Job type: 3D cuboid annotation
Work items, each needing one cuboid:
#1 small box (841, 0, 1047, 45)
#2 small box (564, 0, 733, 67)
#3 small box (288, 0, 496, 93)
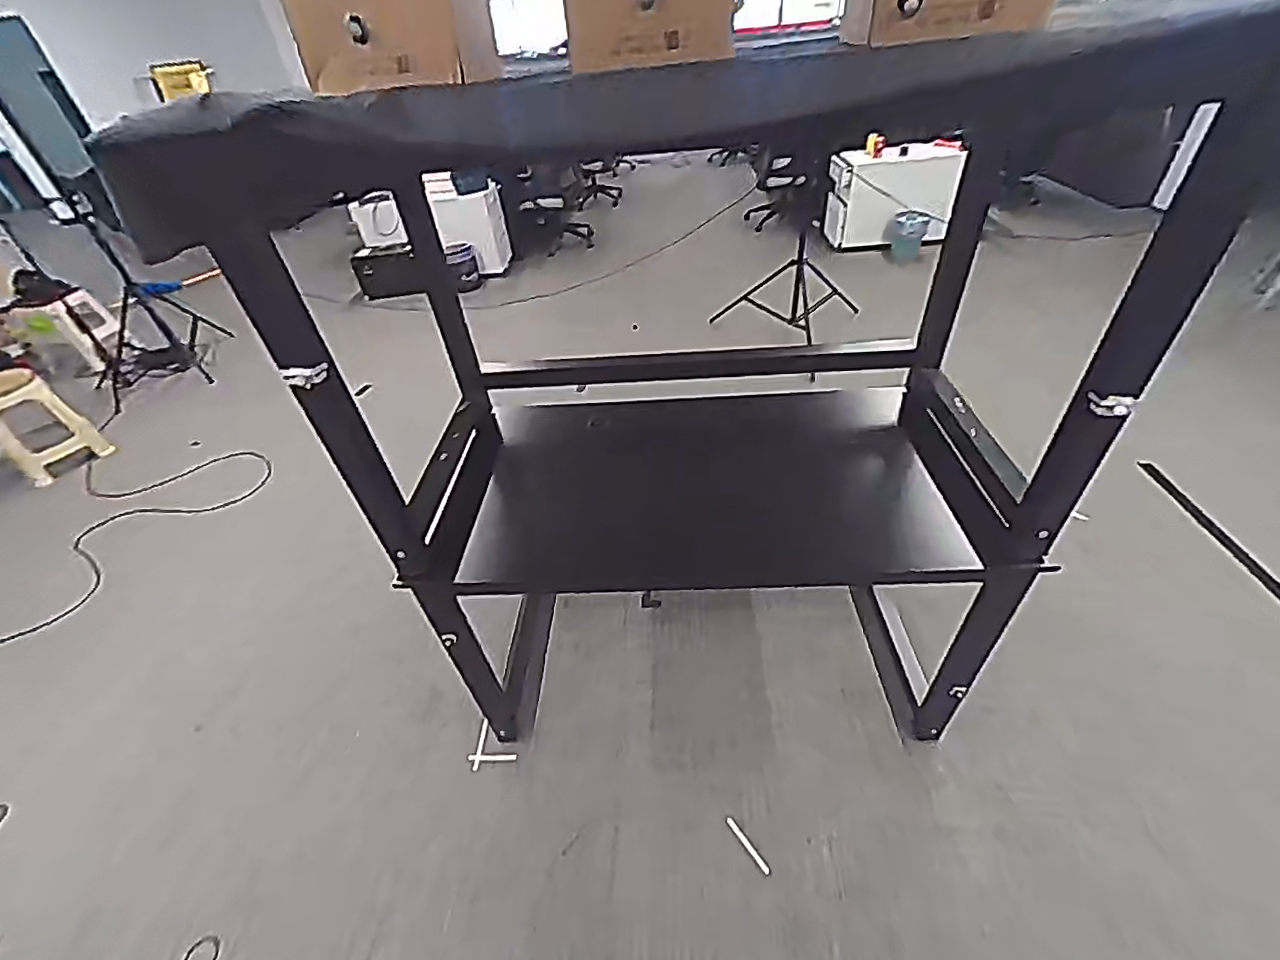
[{"bbox_3d":[0.307,-0.550,0.537,0.168,0.176,0.179,0,39,8],"label":"small box"},{"bbox_3d":[0.009,-0.535,0.556,0.168,0.176,0.179,-2,39,6],"label":"small box"},{"bbox_3d":[-0.263,-0.522,0.576,0.168,0.176,0.179,-2,39,3],"label":"small box"}]
